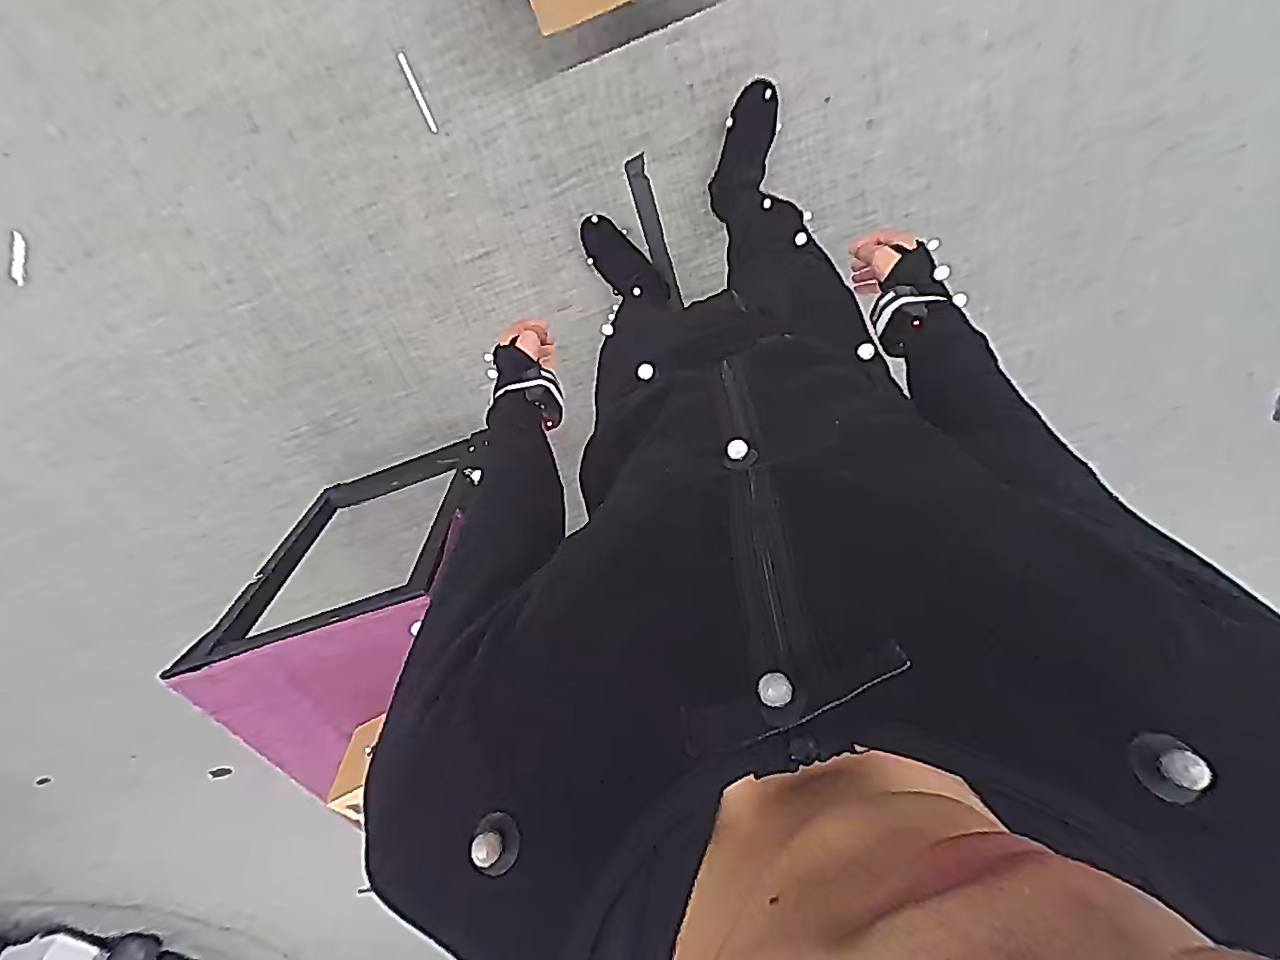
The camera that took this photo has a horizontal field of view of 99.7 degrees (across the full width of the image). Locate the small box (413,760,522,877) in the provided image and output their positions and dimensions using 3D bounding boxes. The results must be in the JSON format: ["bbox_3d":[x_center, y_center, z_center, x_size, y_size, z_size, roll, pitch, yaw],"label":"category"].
[{"bbox_3d":[-0.407,0.816,1.310,0.179,0.176,0.168,-27,121,12],"label":"small box"}]

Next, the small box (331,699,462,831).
[{"bbox_3d":[-0.515,0.614,1.173,0.179,0.176,0.168,-30,120,13],"label":"small box"}]
